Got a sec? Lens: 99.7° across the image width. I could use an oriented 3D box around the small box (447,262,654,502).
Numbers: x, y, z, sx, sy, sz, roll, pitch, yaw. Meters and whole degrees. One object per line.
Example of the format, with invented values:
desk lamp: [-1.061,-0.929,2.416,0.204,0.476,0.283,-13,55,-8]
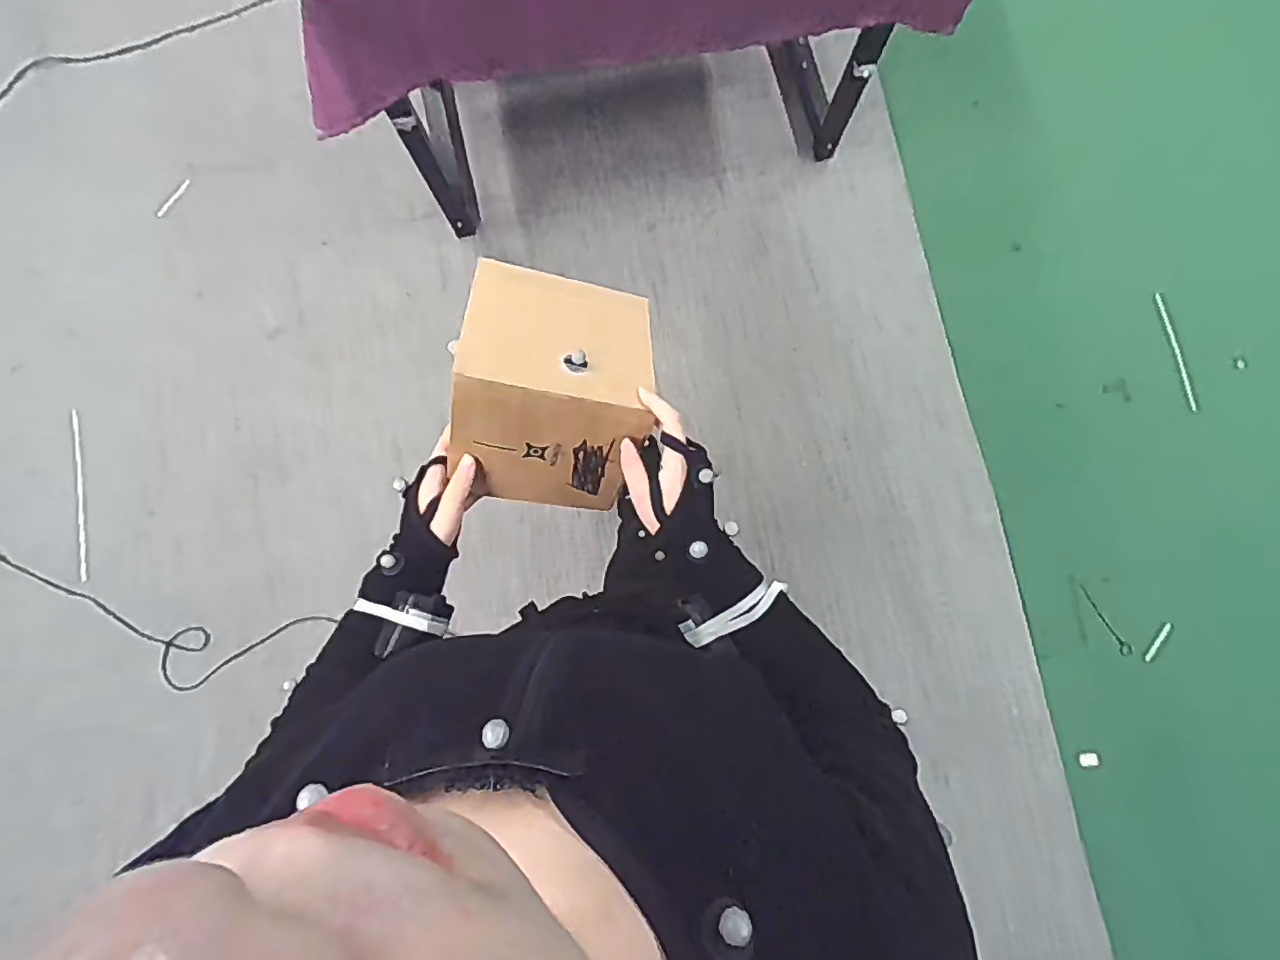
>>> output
small box: [-0.096,-0.099,0.568,0.179,0.168,0.176,9,52,-15]
